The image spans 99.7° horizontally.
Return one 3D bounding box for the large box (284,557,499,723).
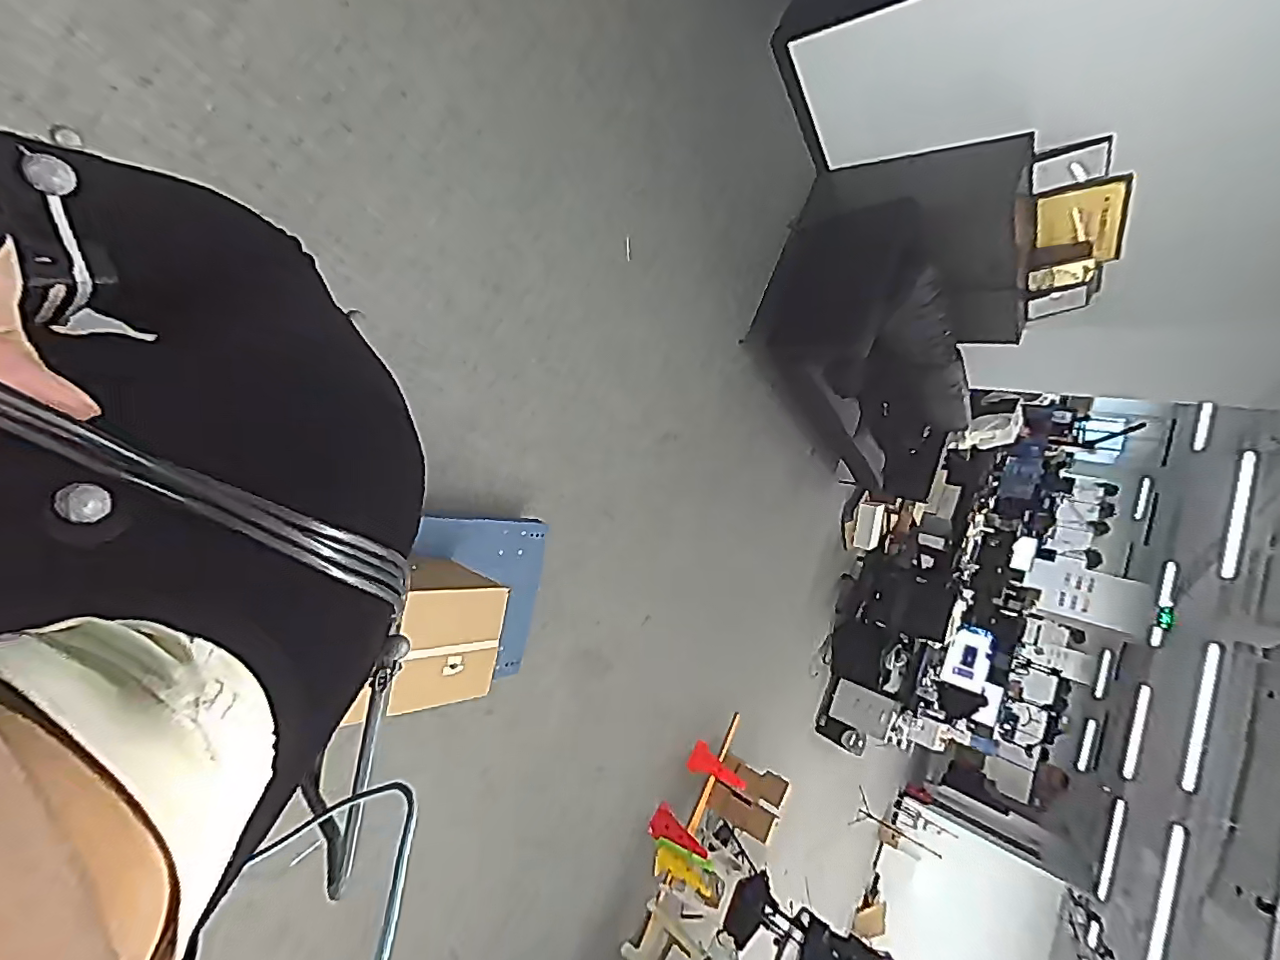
[{"bbox_3d":[-0.654,0.390,1.440,0.408,0.320,0.320,11,92,-51],"label":"large box"}]
